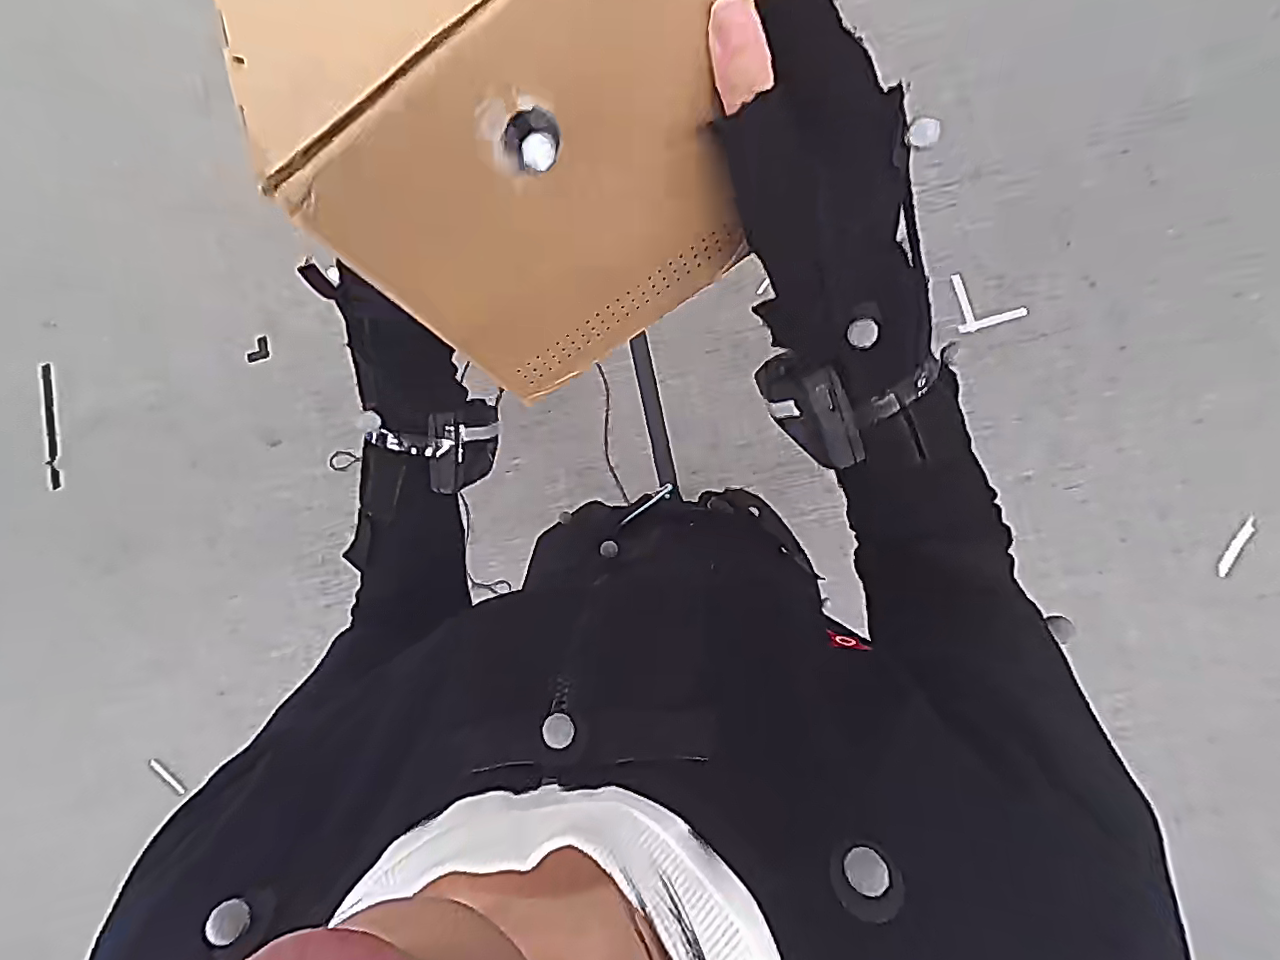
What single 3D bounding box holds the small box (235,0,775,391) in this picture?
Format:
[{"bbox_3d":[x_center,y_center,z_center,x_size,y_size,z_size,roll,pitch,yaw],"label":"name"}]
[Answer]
[{"bbox_3d":[-0.054,-0.177,0.273,0.179,0.176,0.168,-34,63,7],"label":"small box"}]
